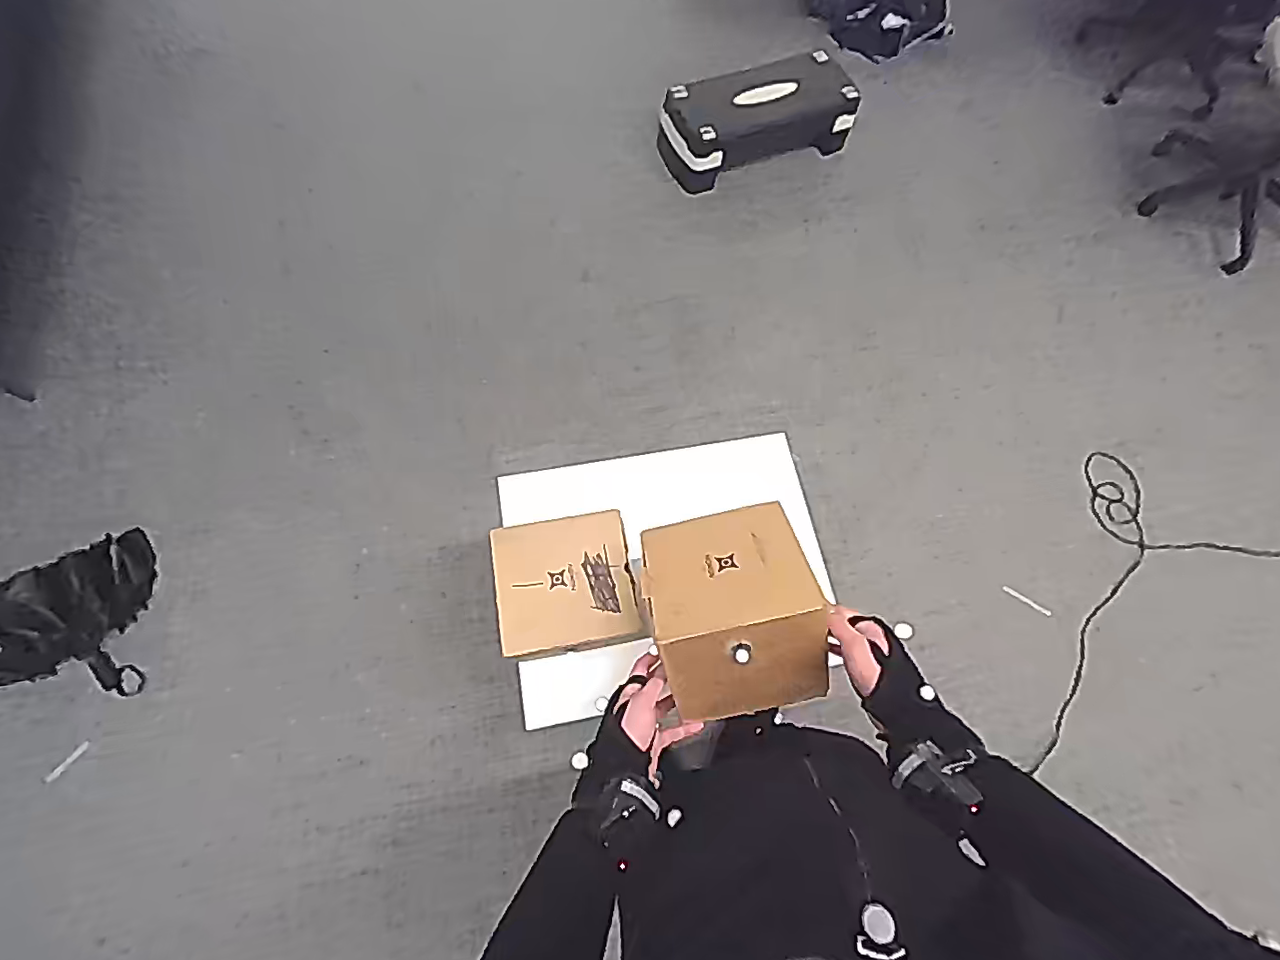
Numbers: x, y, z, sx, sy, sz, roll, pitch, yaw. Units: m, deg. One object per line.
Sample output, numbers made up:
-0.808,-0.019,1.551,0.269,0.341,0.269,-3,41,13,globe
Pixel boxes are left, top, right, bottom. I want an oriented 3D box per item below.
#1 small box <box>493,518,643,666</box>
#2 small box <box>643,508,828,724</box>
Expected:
-0.100,0.164,0.767,0.179,0.176,0.168,-9,70,-7,small box
0.111,0.163,0.639,0.179,0.176,0.168,-13,36,3,small box
